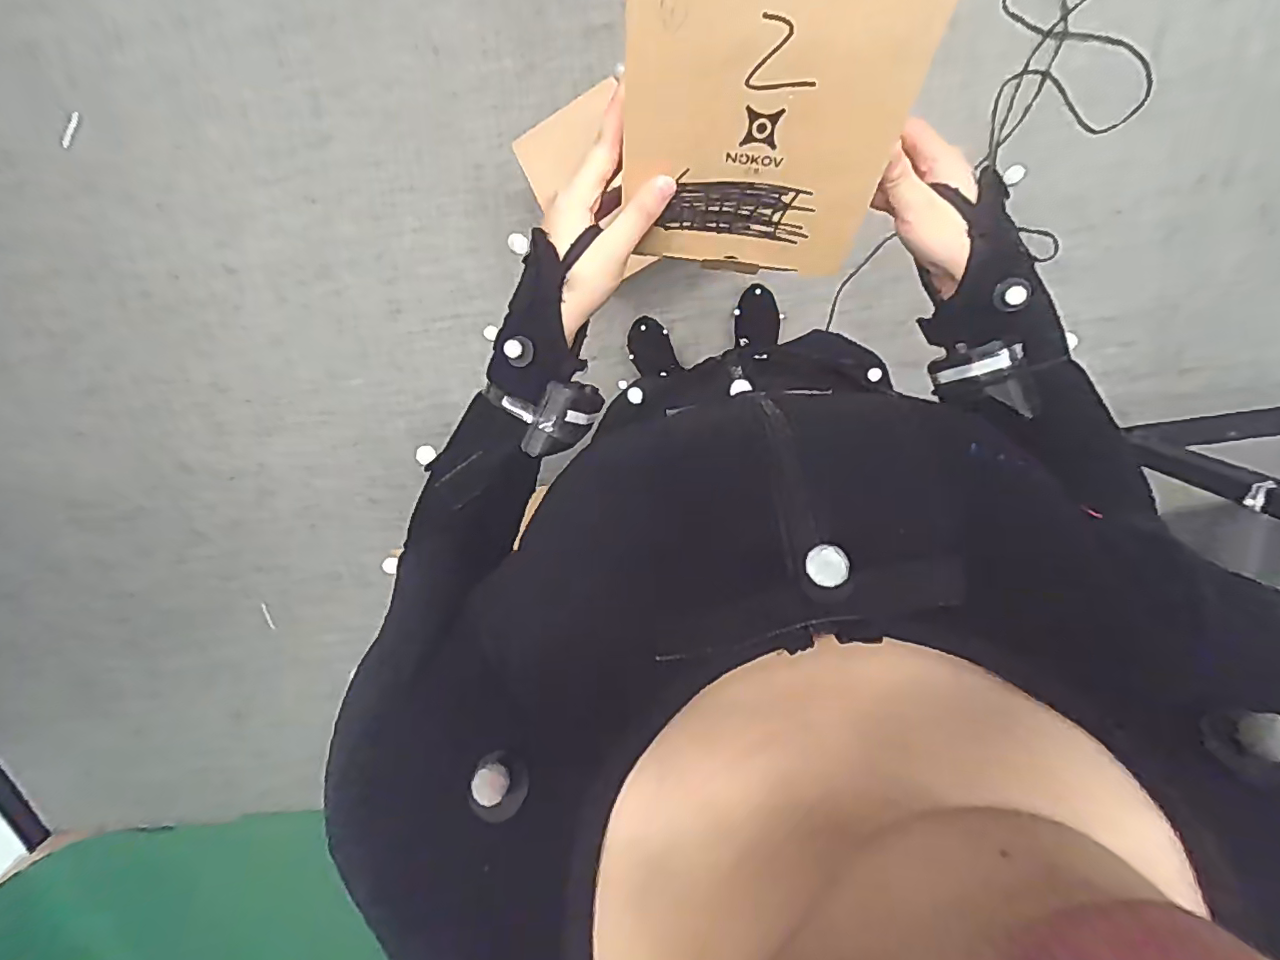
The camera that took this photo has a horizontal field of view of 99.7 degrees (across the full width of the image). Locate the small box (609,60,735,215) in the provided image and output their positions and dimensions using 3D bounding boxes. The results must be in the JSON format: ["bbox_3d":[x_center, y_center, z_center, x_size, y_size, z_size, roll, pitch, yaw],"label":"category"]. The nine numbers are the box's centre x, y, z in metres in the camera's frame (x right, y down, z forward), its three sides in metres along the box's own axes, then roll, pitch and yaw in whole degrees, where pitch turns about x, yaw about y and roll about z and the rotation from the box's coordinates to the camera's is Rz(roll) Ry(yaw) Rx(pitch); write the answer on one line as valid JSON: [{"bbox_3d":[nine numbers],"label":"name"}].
[{"bbox_3d":[0.054,-0.564,0.917,0.168,0.176,0.179,13,112,-1],"label":"small box"}]
